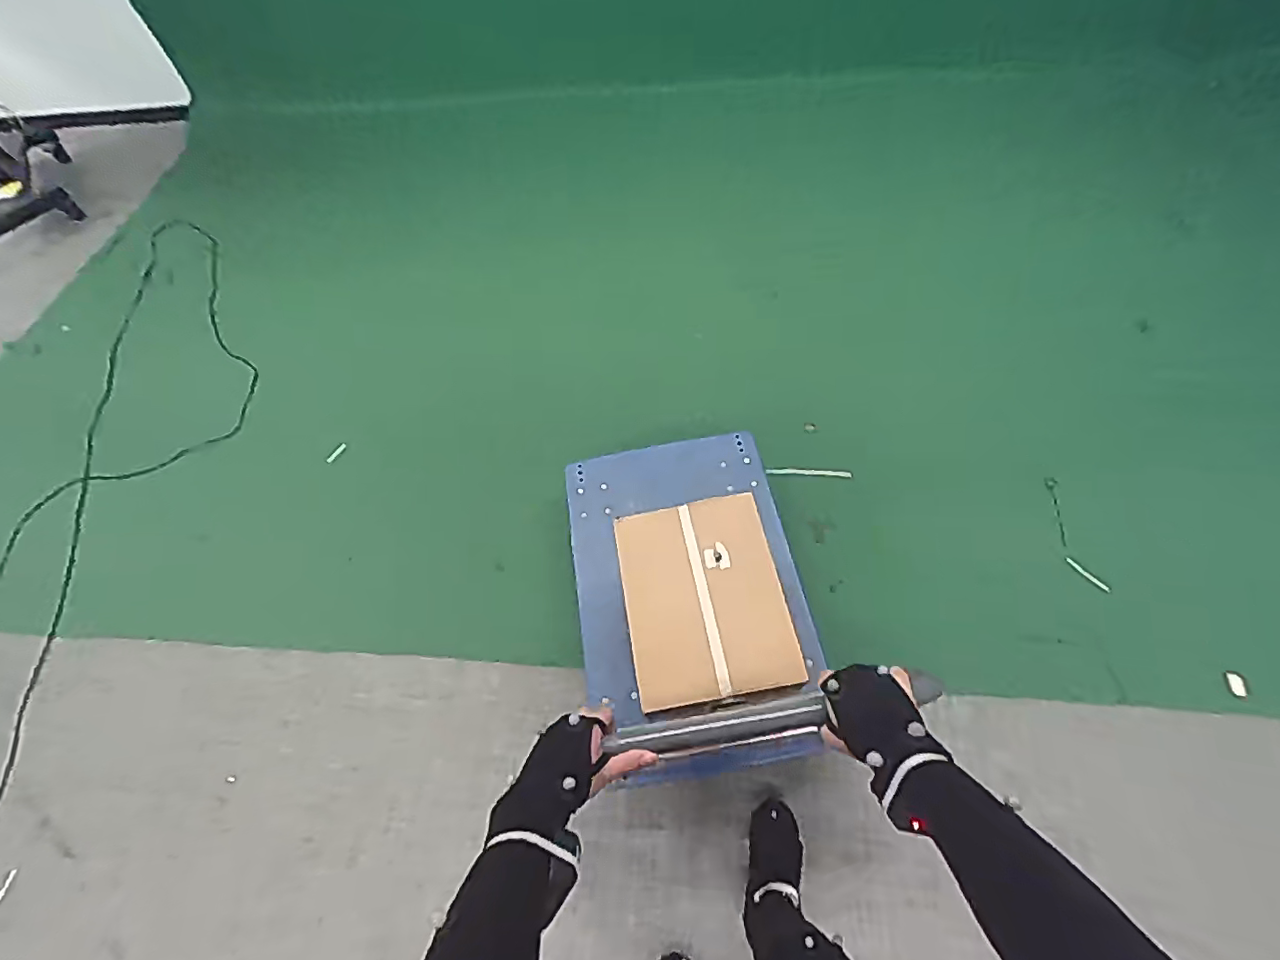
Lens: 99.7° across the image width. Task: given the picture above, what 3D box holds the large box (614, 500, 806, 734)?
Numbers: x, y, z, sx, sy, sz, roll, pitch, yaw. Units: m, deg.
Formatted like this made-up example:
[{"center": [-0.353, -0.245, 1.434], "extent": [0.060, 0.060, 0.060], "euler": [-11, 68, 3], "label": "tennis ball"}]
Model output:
[{"center": [0.144, 0.315, 1.224], "extent": [0.320, 0.320, 0.408], "euler": [-11, 58, 1], "label": "large box"}]
